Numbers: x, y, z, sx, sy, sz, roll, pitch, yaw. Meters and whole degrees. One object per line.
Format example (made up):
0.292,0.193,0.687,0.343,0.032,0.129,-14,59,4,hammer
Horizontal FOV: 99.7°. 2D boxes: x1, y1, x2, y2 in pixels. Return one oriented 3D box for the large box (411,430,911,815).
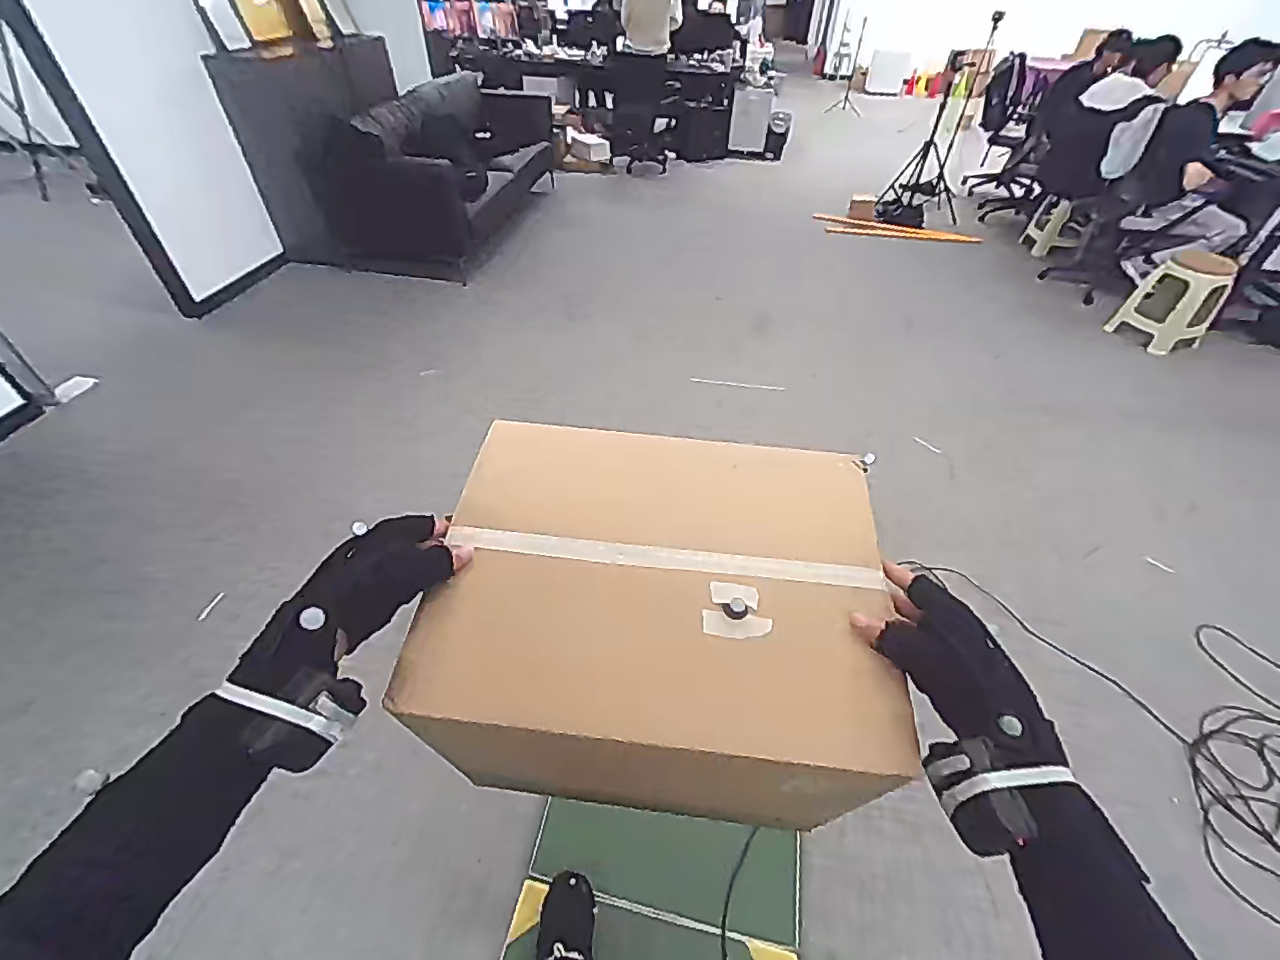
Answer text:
0.020,0.171,0.628,0.408,0.320,0.320,6,51,2,large box
